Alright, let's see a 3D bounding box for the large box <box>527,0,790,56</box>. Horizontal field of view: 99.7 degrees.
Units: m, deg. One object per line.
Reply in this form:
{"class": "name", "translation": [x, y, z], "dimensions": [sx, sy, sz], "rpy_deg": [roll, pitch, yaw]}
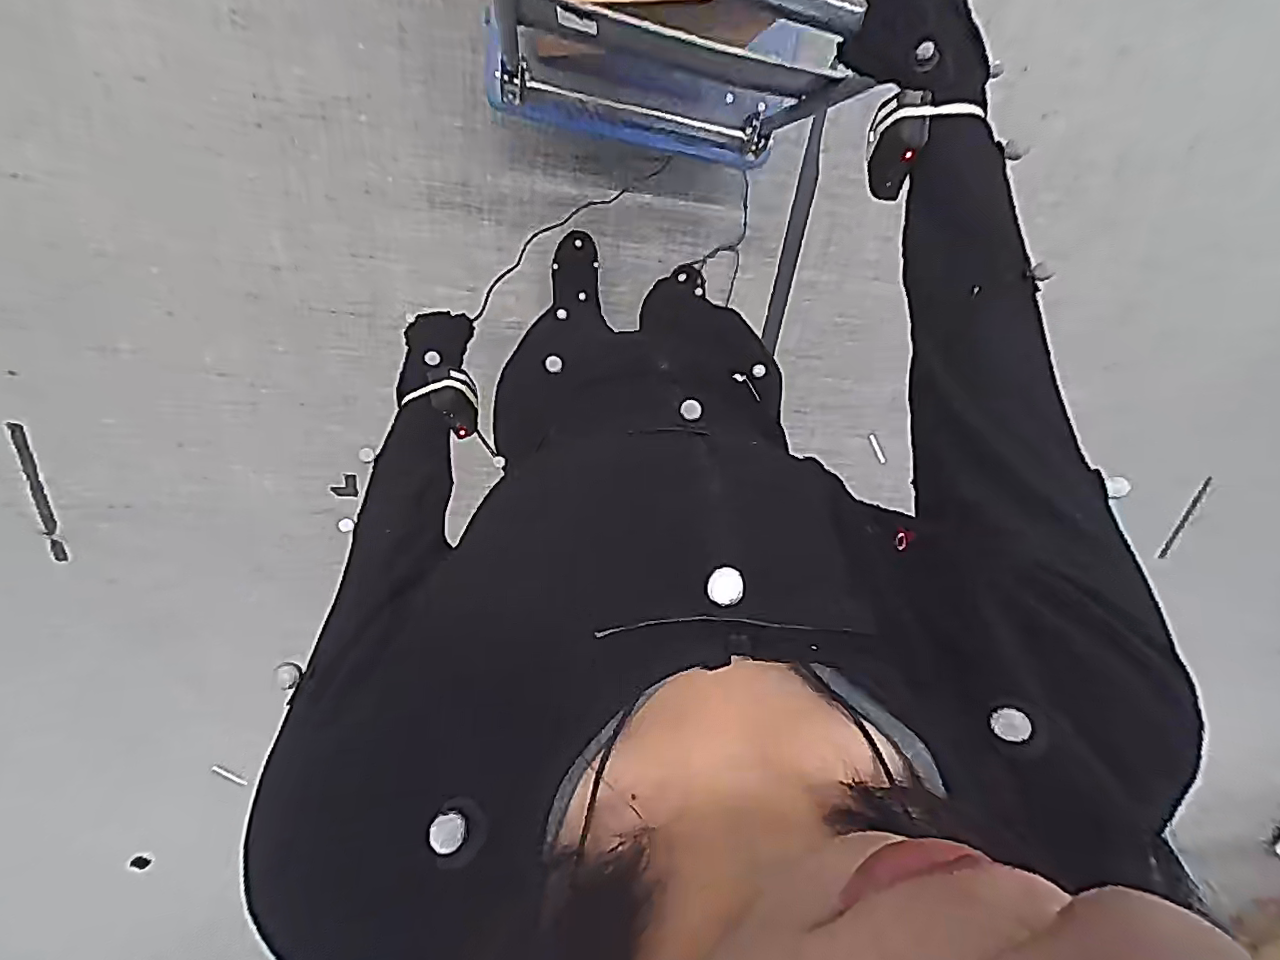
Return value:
{"class": "large box", "translation": [0.013, -0.876, 0.815], "dimensions": [0.408, 0.320, 0.320], "rpy_deg": [-8, 118, -7]}
